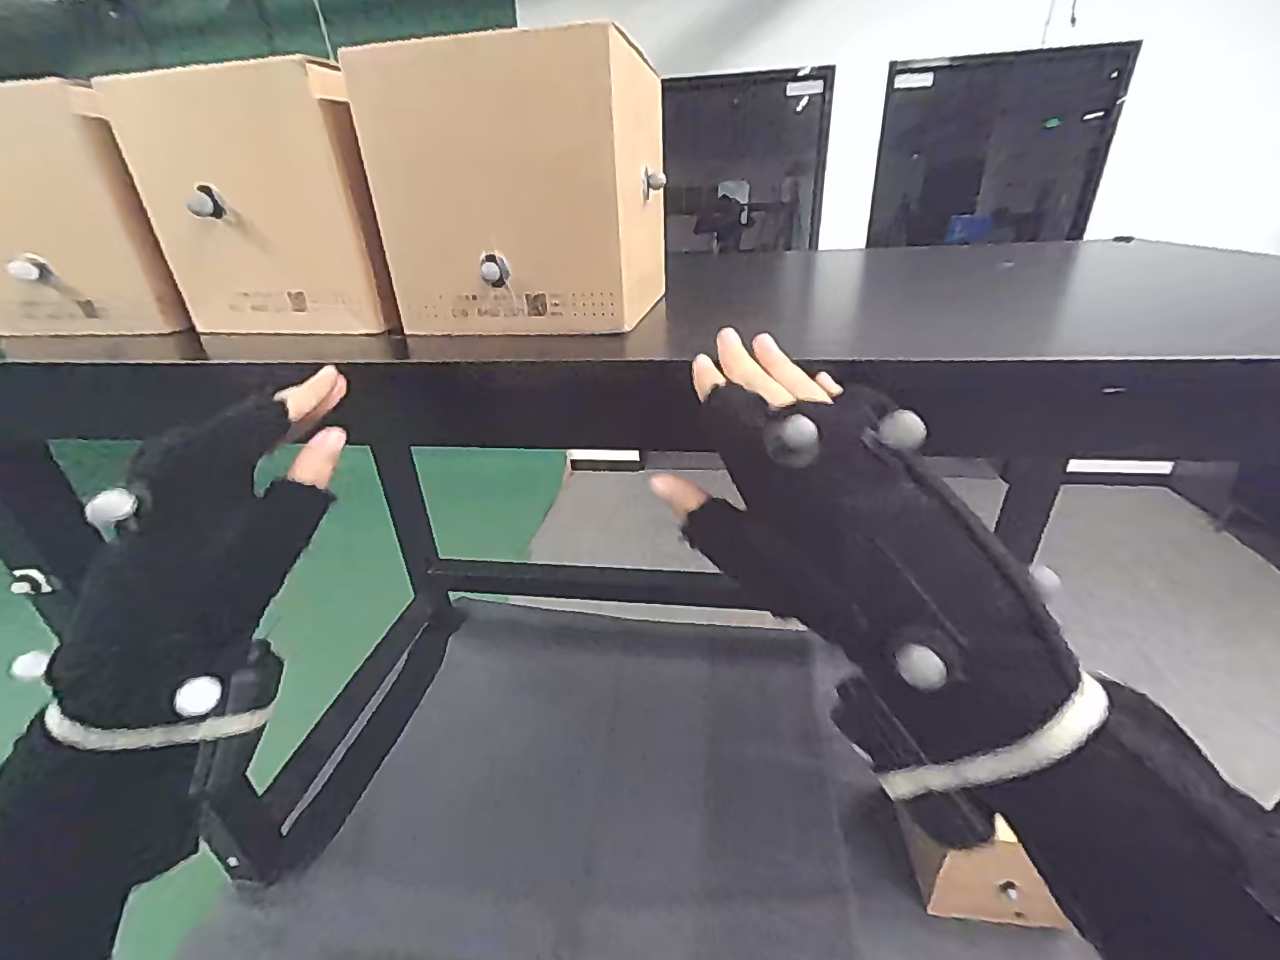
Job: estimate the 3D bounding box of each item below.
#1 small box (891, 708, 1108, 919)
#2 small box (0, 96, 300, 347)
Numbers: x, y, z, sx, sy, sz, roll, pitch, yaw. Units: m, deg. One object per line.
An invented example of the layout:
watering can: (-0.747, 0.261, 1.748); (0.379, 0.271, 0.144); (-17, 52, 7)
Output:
small box: (0.449, 0.432, 0.711); (0.168, 0.176, 0.179); (1, 27, 7)
small box: (-0.440, -0.223, 0.478); (0.168, 0.176, 0.179); (1, 29, 7)
